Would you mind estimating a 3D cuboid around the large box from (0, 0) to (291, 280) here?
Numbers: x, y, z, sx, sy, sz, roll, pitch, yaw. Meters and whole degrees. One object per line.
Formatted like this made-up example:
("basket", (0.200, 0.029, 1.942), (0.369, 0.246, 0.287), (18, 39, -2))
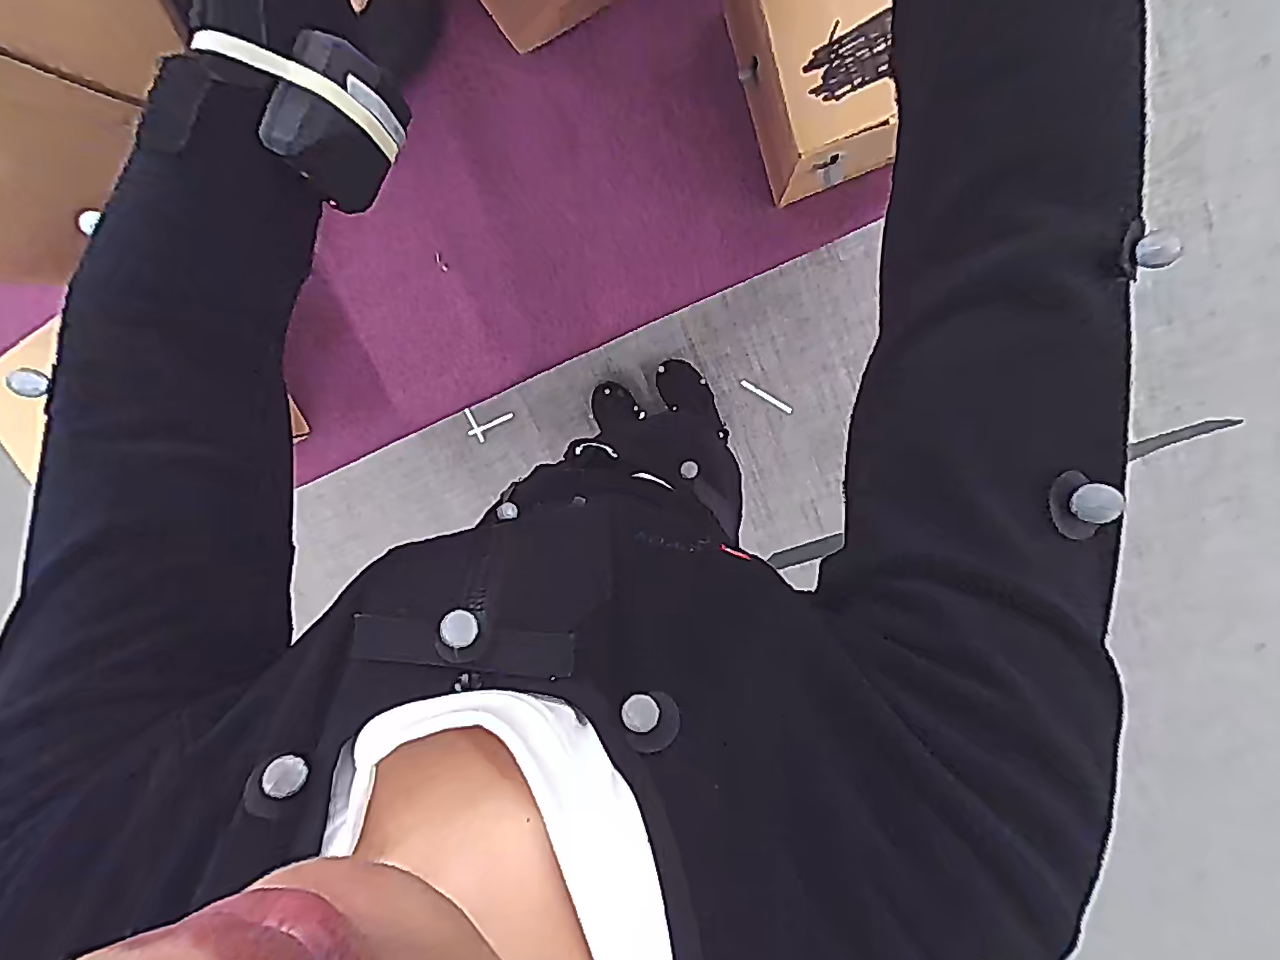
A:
("large box", (-0.606, -0.422, 0.431), (0.320, 0.320, 0.408), (-23, 104, 14))
